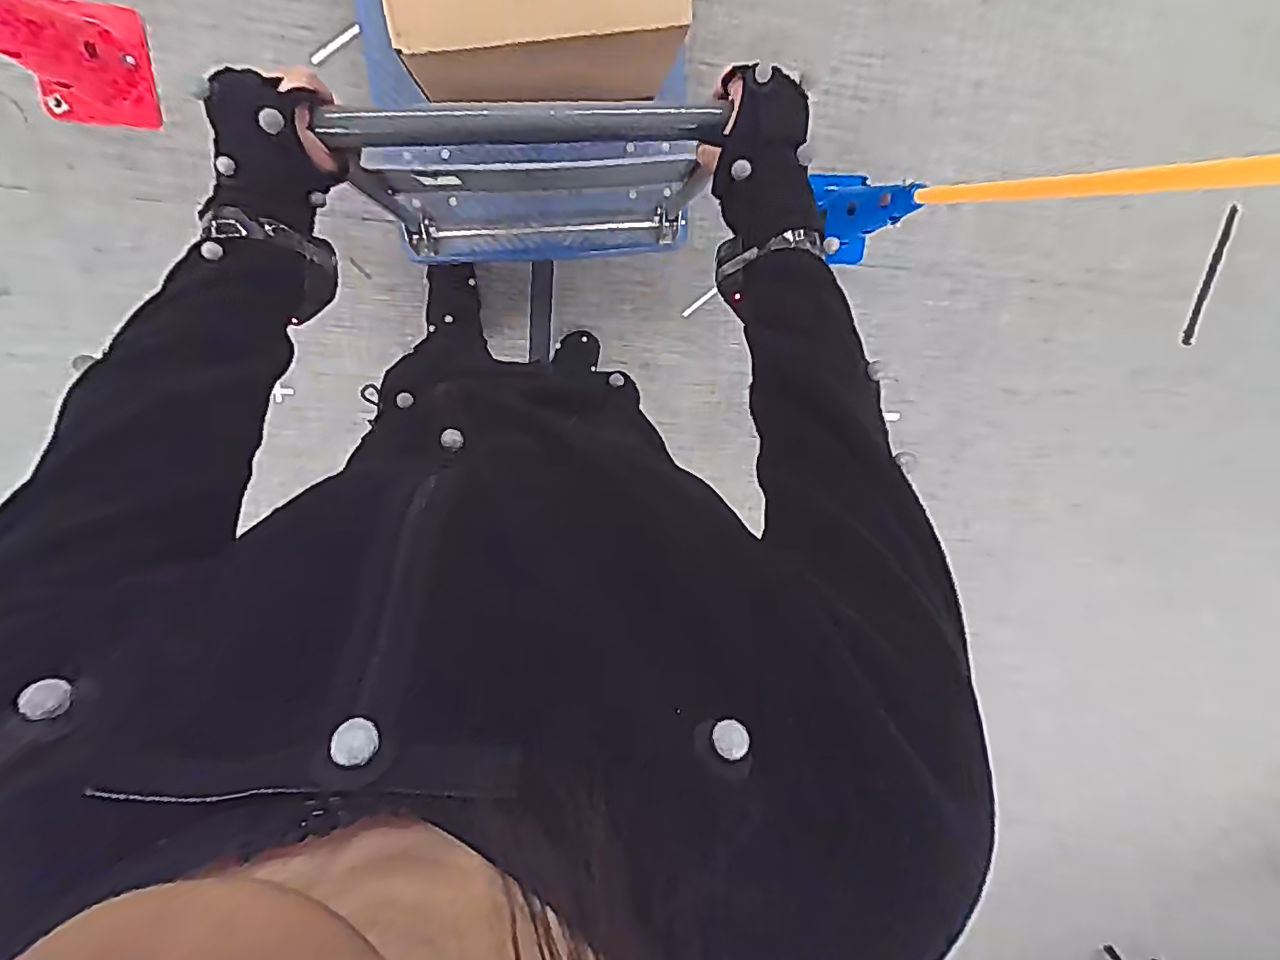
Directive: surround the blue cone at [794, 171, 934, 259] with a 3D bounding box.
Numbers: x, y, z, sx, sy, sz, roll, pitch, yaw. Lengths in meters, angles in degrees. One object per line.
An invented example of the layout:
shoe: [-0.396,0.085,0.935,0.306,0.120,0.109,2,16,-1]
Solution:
blue cone: [0.490,-0.588,1.157,0.193,0.380,0.192,-2,108,-8]
